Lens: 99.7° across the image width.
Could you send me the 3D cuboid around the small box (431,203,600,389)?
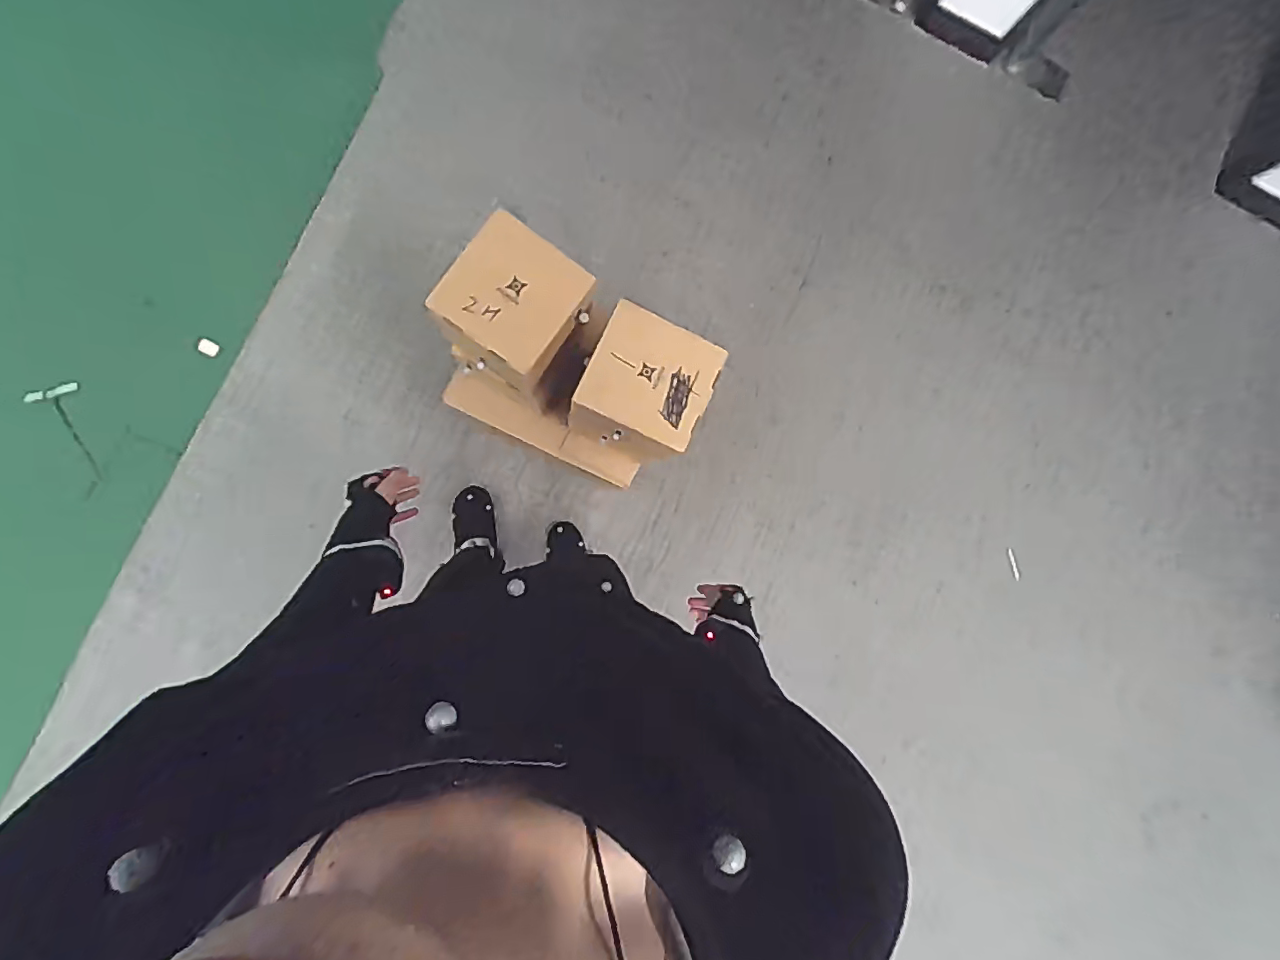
[{"bbox_3d":[-0.182,-0.265,0.822,0.168,0.176,0.179,36,84,-5],"label":"small box"}]
